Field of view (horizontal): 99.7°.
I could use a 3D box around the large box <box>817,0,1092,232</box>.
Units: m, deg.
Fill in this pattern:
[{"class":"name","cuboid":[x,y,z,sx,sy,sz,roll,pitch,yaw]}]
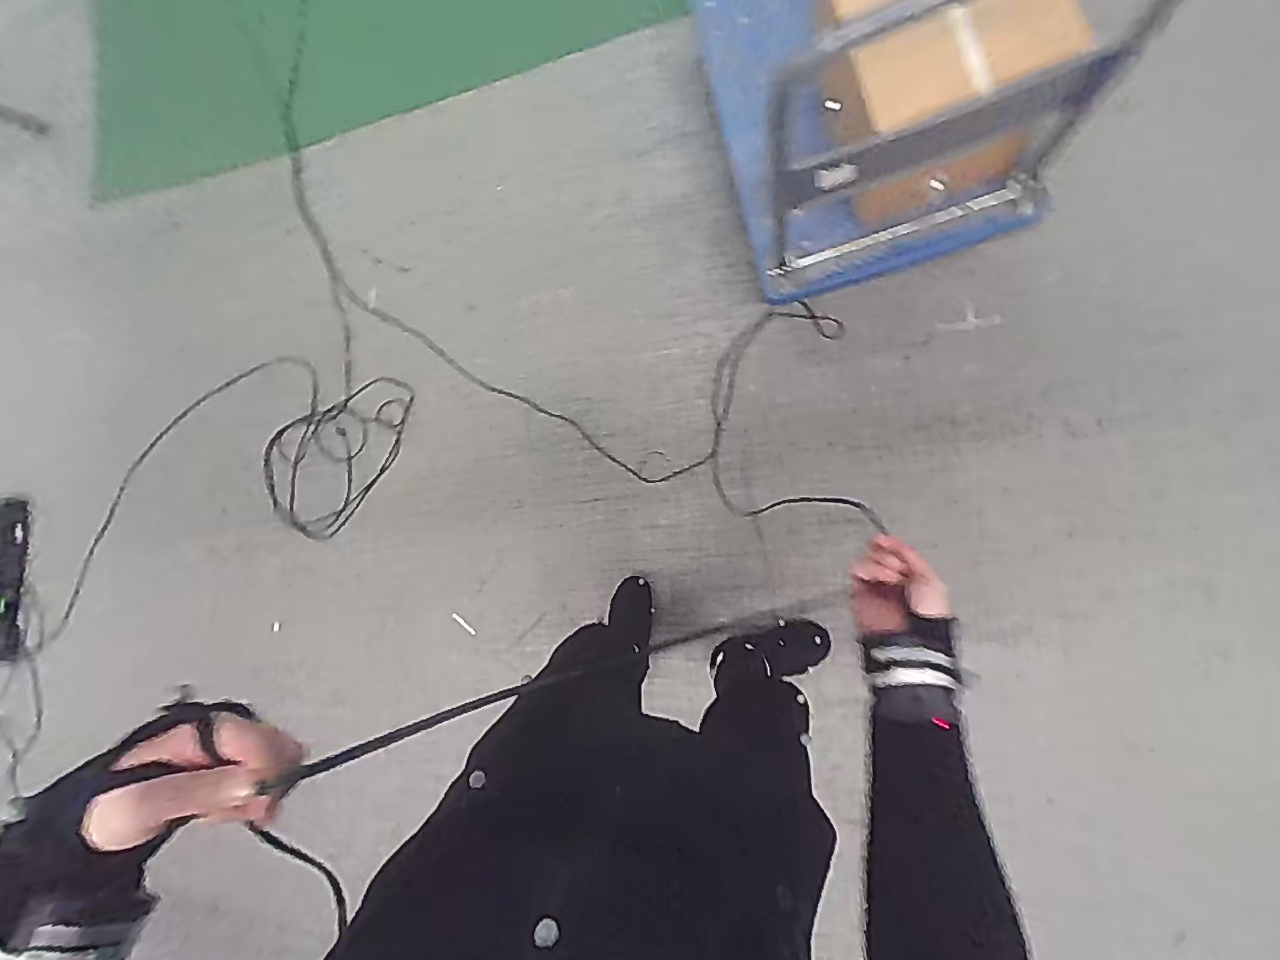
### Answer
[{"class":"large box","cuboid":[0.544,-0.773,1.026,0.320,0.320,0.408,-15,82,15]}]
